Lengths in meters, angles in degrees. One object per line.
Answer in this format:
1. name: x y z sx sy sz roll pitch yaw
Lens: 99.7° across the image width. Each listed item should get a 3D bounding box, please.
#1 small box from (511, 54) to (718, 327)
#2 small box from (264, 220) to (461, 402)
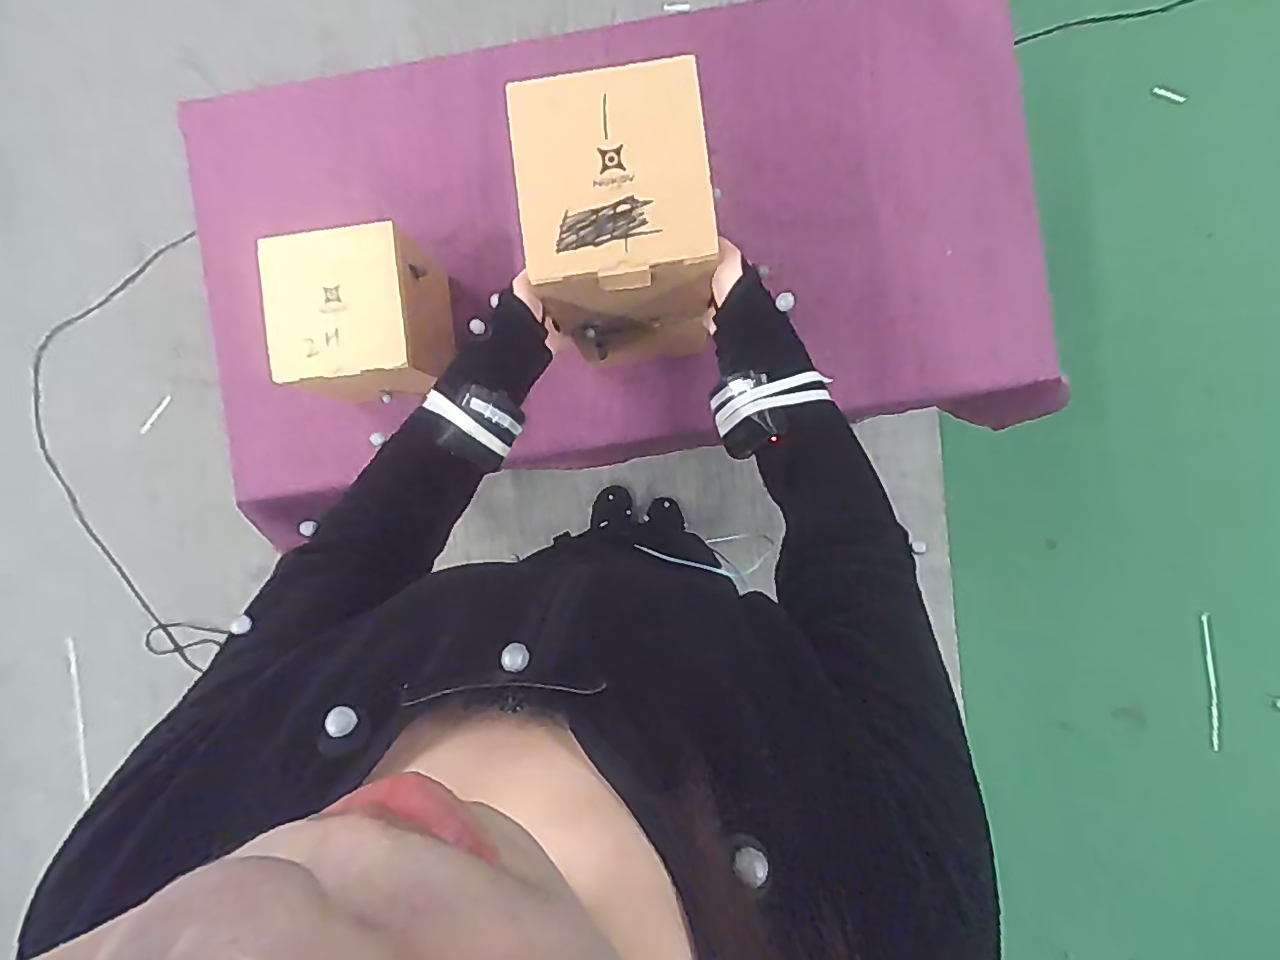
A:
1. small box: -0.018 -0.261 0.535 0.168 0.176 0.179 -6 87 2
2. small box: -0.352 -0.209 0.713 0.168 0.176 0.179 -7 89 2
